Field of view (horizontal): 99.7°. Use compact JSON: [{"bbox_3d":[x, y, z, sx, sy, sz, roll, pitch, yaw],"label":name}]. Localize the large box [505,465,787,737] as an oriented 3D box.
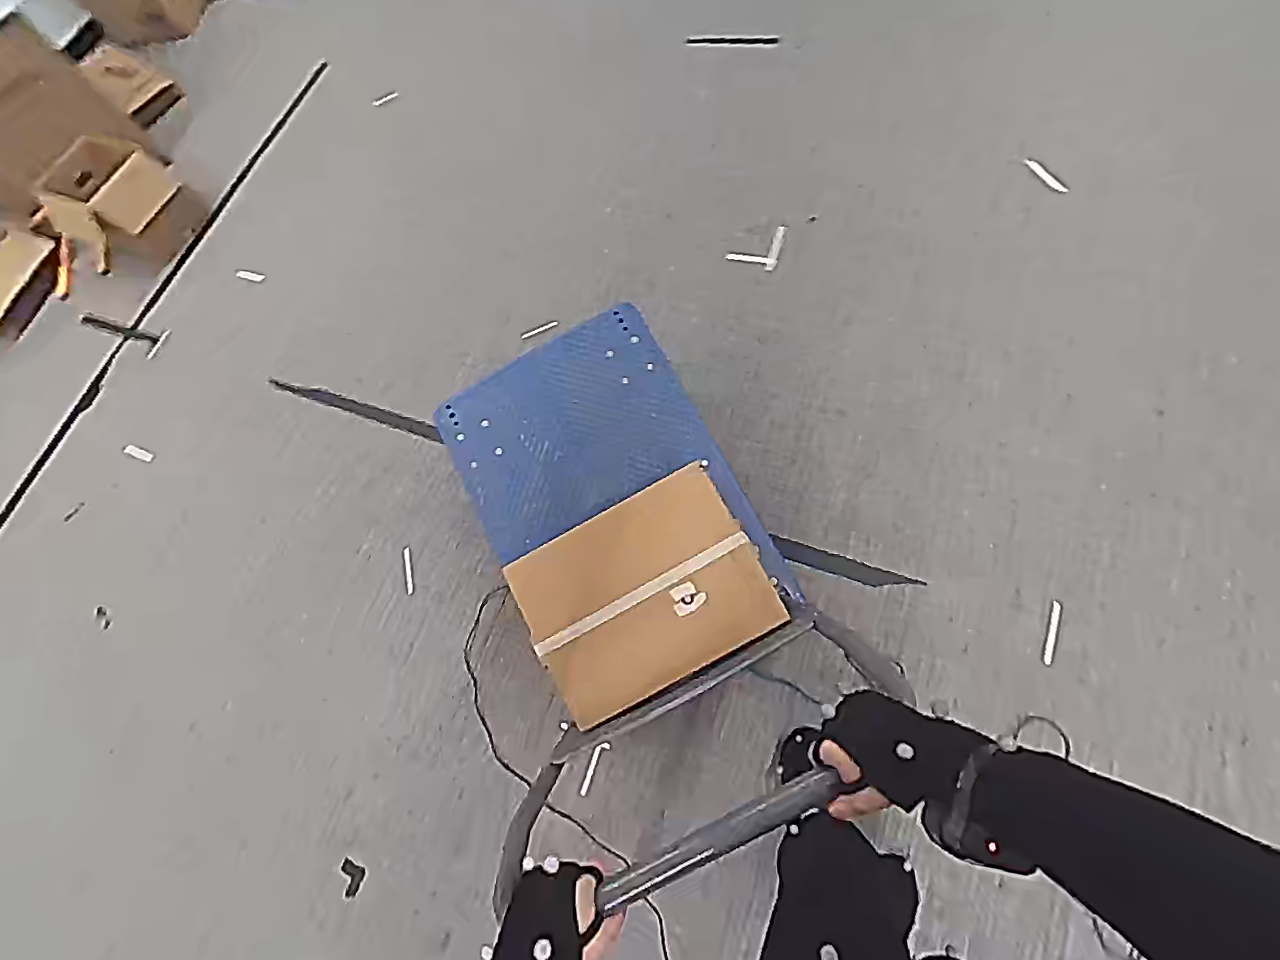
[{"bbox_3d":[0.016,0.226,1.067,0.408,0.320,0.320,-30,80,0],"label":"large box"}]
